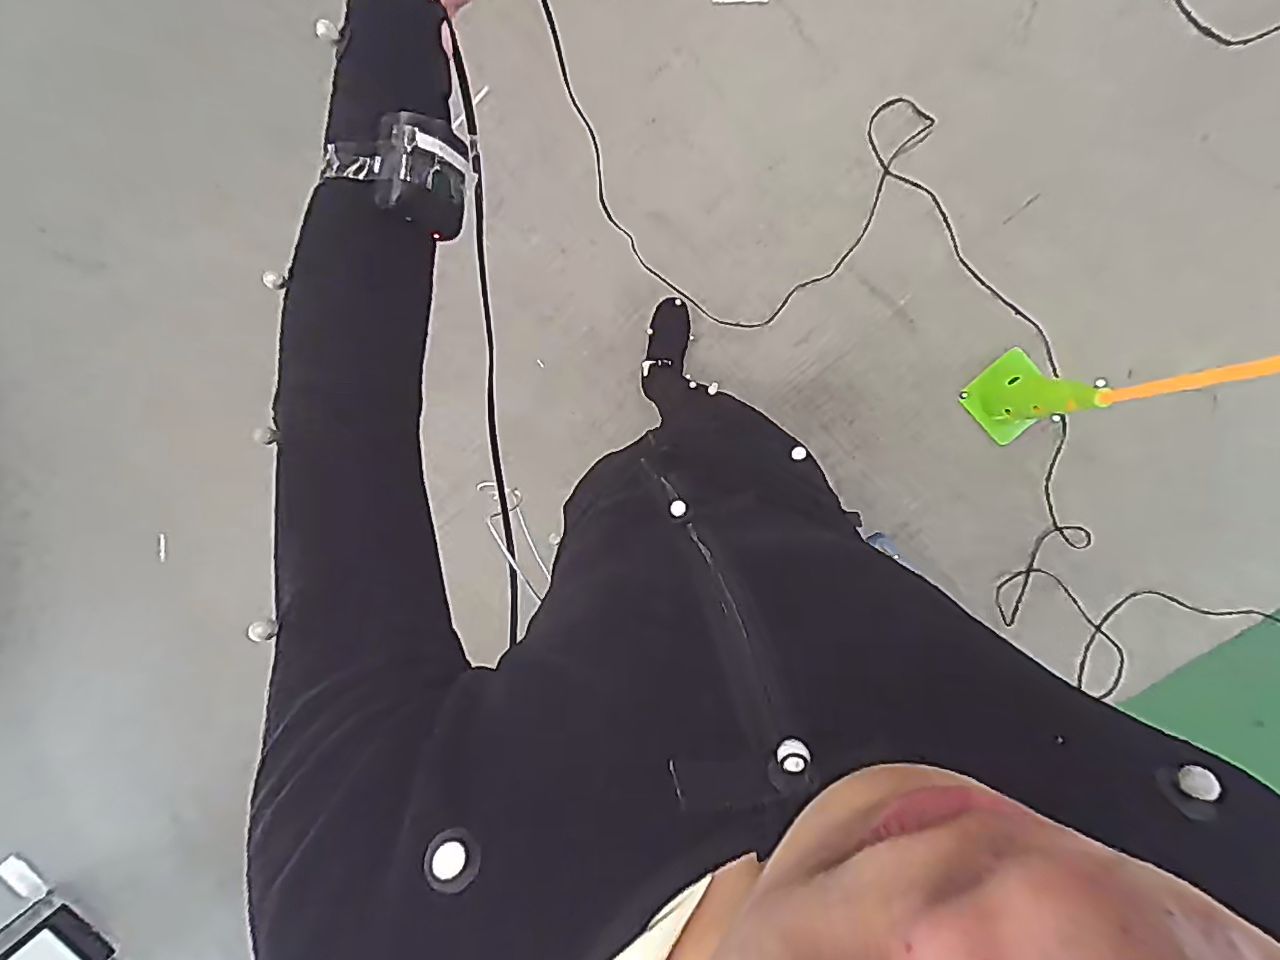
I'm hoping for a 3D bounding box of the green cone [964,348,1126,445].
[{"bbox_3d":[0.992,-0.196,1.288,0.202,0.368,0.200,-44,93,10],"label":"green cone"}]
